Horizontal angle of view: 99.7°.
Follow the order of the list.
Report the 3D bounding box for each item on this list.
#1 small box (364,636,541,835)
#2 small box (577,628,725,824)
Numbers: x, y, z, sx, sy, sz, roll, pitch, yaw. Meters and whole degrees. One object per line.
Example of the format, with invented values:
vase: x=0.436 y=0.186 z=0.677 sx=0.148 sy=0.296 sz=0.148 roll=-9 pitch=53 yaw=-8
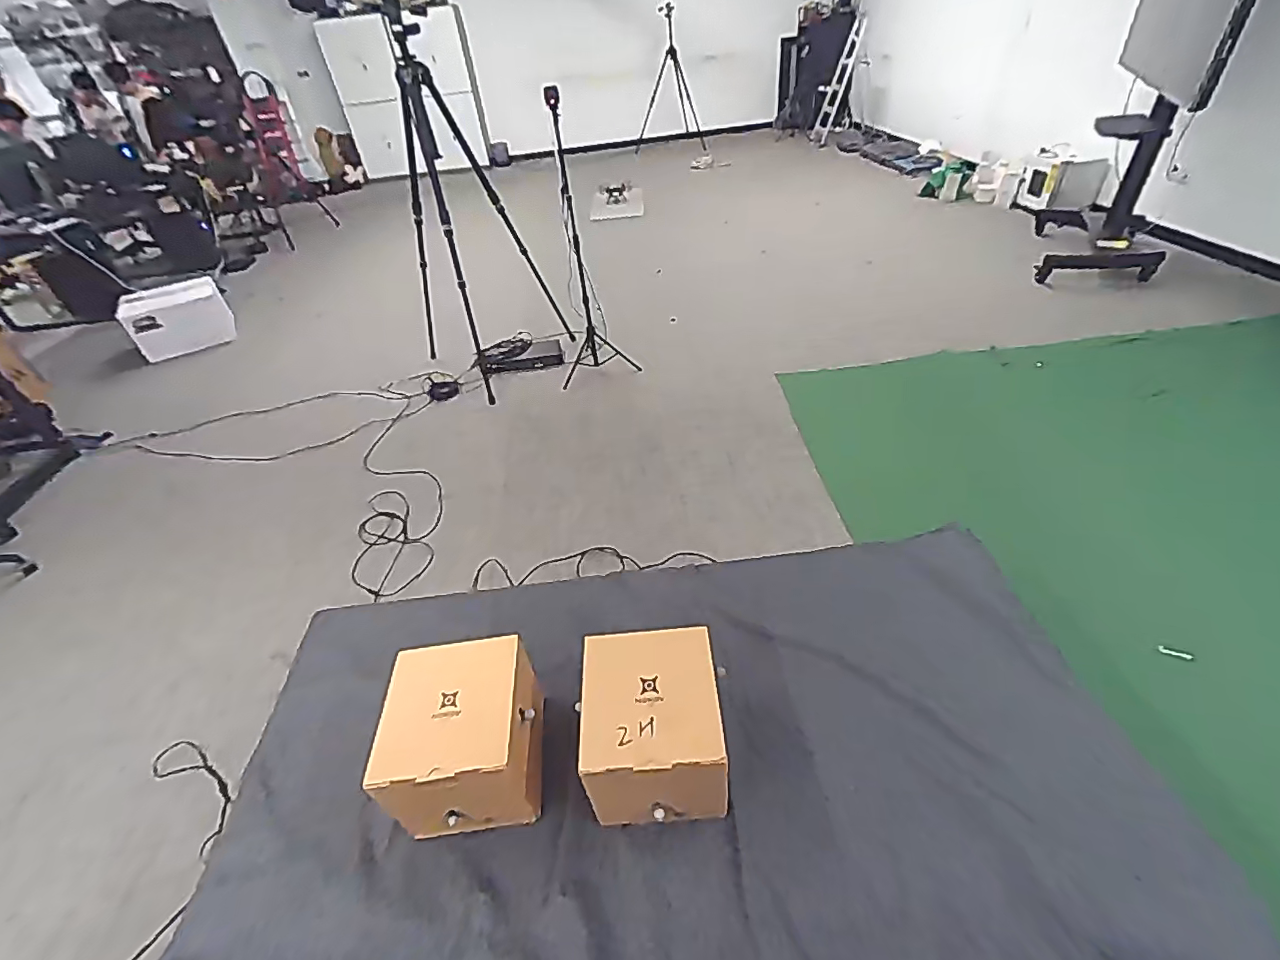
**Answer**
small box: x=-0.231 y=0.338 z=0.719 sx=0.168 sy=0.176 sz=0.179 roll=-8 pitch=41 yaw=-1
small box: x=0.016 y=0.318 z=0.704 sx=0.168 sy=0.176 sz=0.179 roll=-5 pitch=40 yaw=2
